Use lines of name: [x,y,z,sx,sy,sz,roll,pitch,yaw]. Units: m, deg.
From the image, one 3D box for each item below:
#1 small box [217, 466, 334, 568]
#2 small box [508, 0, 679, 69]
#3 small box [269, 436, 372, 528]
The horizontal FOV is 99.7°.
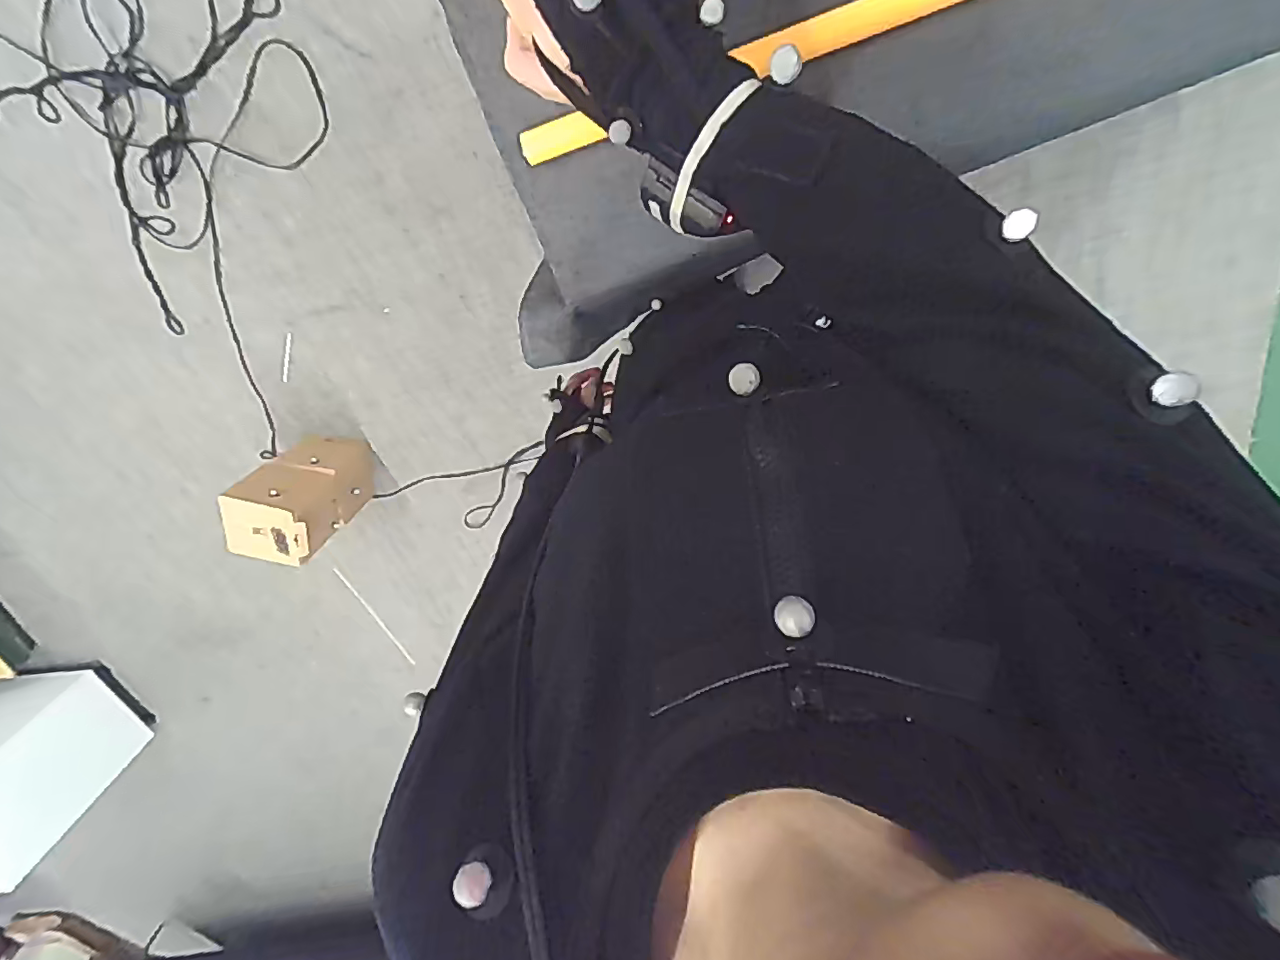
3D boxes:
small box: [-0.868,0.084,1.312,0.179,0.176,0.168,13,119,-2]
small box: [-0.035,-0.396,0.326,0.168,0.176,0.179,-26,115,18]
small box: [-0.846,0.002,1.453,0.168,0.176,0.179,8,120,0]
